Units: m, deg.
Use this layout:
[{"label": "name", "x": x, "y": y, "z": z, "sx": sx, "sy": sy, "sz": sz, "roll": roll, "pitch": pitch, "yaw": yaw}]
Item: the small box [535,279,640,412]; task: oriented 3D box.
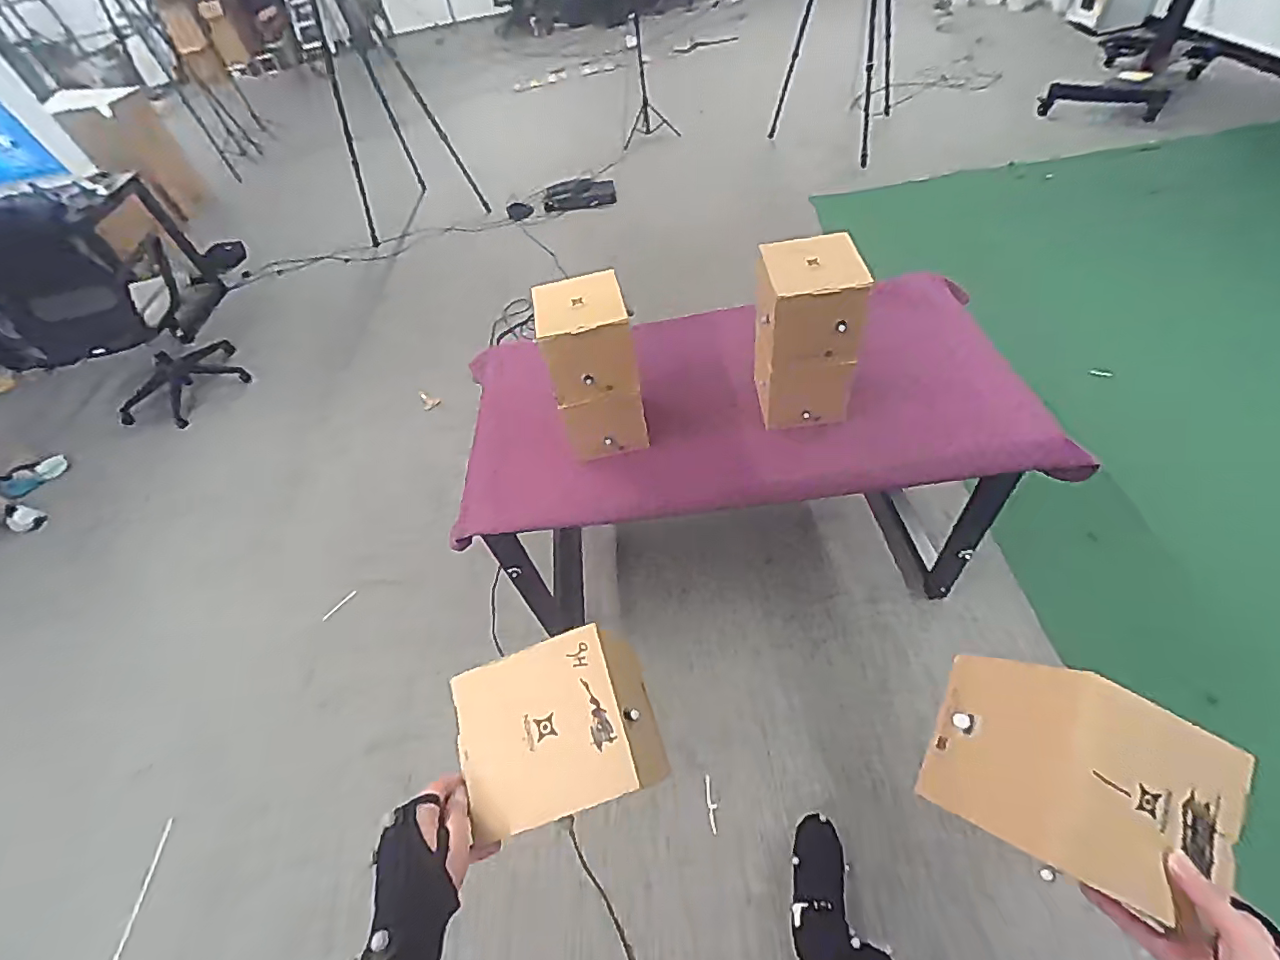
[{"label": "small box", "x": -0.101, "y": -0.262, "z": 1.061, "sx": 0.168, "sy": 0.176, "sz": 0.179, "roll": -13, "pitch": 50, "yaw": 0}]

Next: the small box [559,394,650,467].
[{"label": "small box", "x": -0.079, "y": -0.156, "z": 1.183, "sx": 0.168, "sy": 0.176, "sz": 0.179, "roll": -12, "pitch": 50, "yaw": 2}]

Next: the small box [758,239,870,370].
[{"label": "small box", "x": 0.320, "y": -0.324, "z": 1.027, "sx": 0.168, "sy": 0.176, "sz": 0.179, "roll": -7, "pitch": 50, "yaw": 6}]

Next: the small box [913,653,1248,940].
[{"label": "small box", "x": 0.417, "y": 0.285, "z": 0.534, "sx": 0.179, "sy": 0.176, "sz": 0.168, "roll": 27, "pitch": 75, "yaw": -2}]

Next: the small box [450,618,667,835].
[{"label": "small box", "x": -0.088, "y": 0.280, "z": 0.620, "sx": 0.179, "sy": 0.176, "sz": 0.168, "roll": -22, "pitch": 62, "yaw": 5}]
